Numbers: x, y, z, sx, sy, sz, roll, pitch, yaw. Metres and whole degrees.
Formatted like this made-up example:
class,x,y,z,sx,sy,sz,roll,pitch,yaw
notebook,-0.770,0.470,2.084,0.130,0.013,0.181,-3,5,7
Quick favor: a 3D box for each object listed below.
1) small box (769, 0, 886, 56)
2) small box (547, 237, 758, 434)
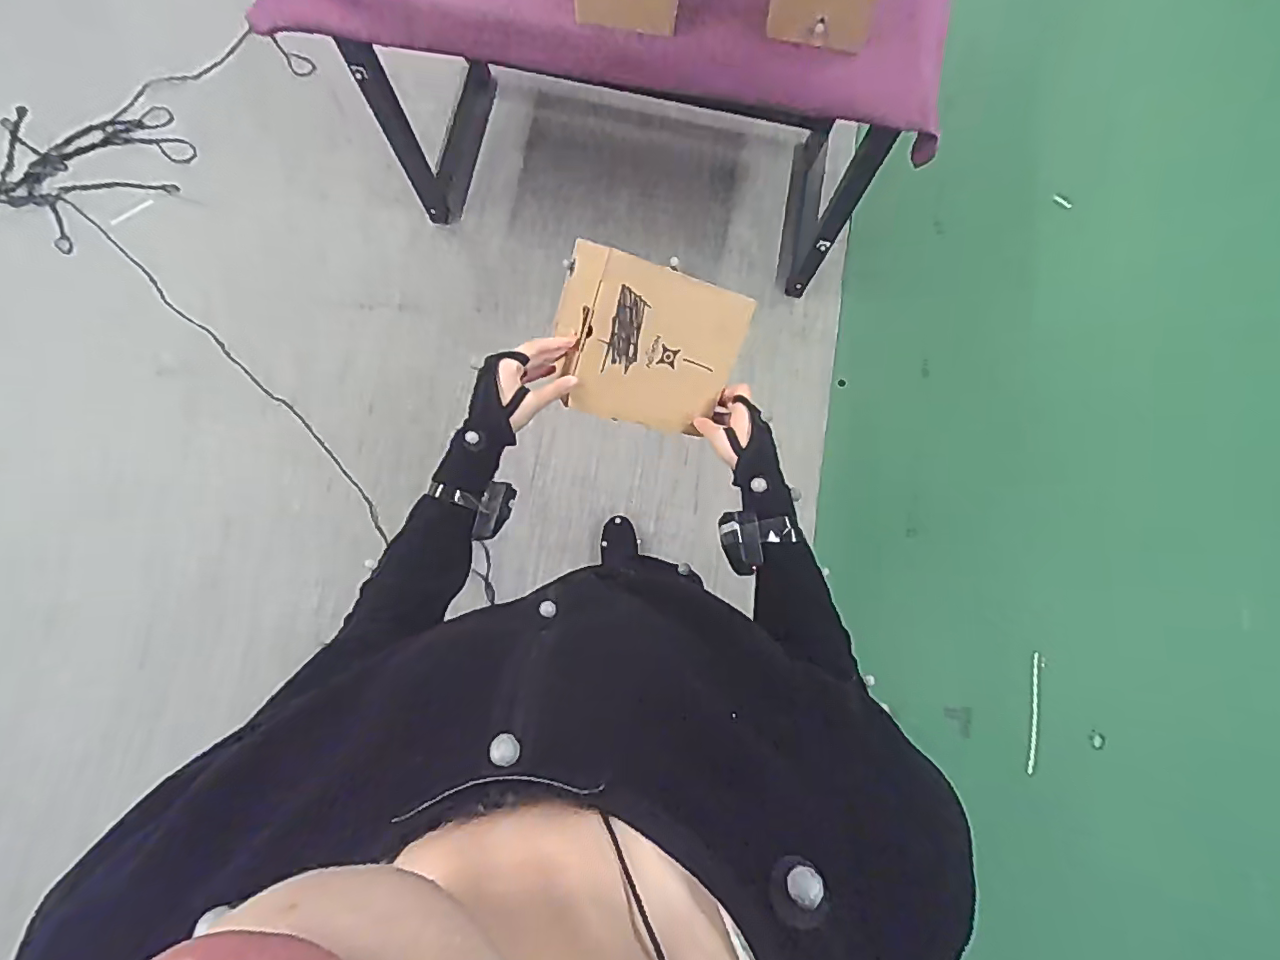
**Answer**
class,x,y,z,sx,sy,sz,roll,pitch,yaw
small box,0.333,-0.866,0.912,0.179,0.176,0.168,10,77,1
small box,0.000,-0.173,0.635,0.179,0.176,0.168,11,112,-23
